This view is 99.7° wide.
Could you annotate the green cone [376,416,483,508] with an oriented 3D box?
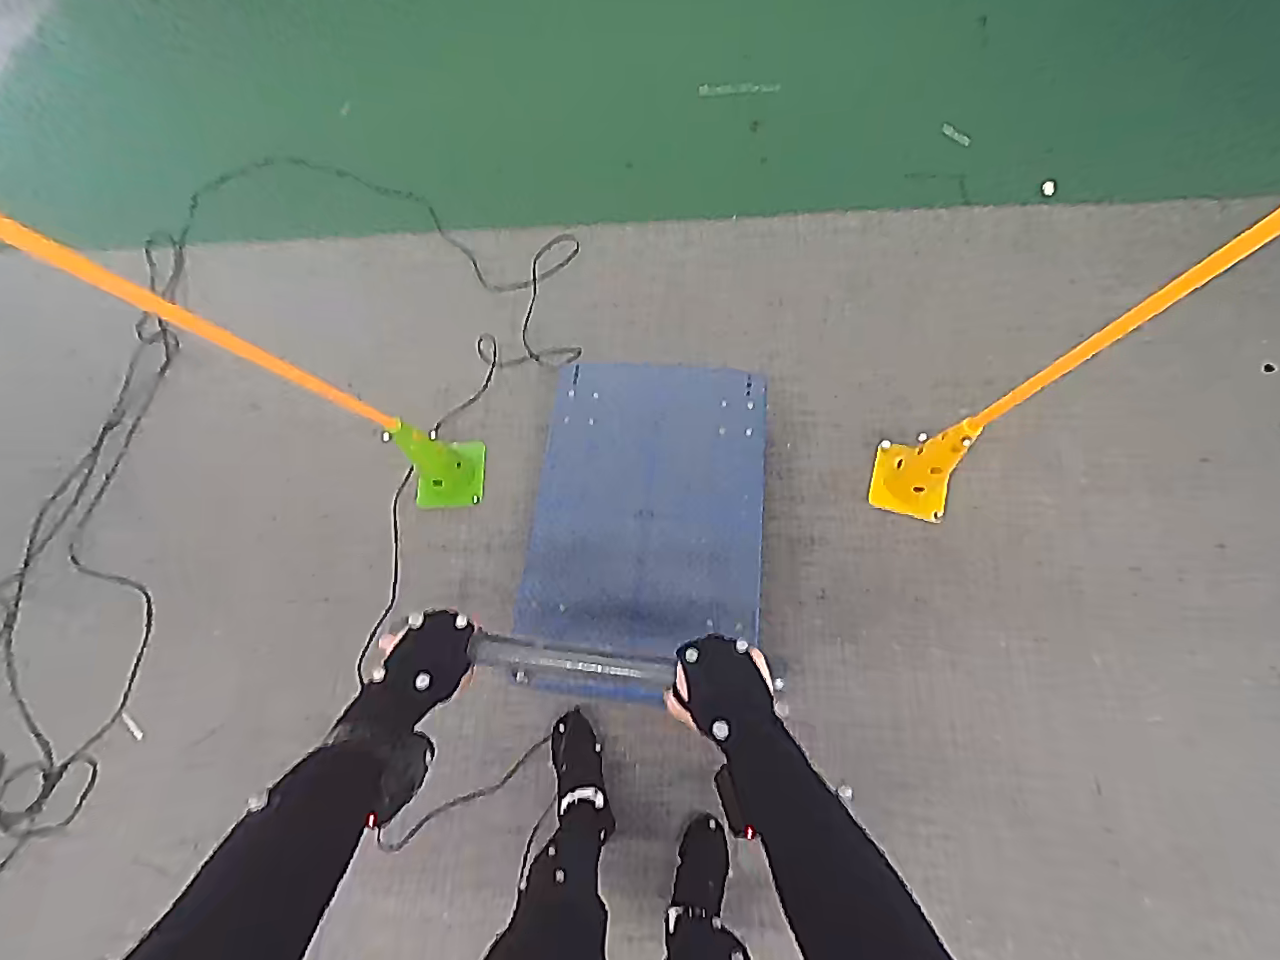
[{"bbox_3d":[-0.587,-0.078,1.454,0.202,0.368,0.200,-5,69,5],"label":"green cone"}]
